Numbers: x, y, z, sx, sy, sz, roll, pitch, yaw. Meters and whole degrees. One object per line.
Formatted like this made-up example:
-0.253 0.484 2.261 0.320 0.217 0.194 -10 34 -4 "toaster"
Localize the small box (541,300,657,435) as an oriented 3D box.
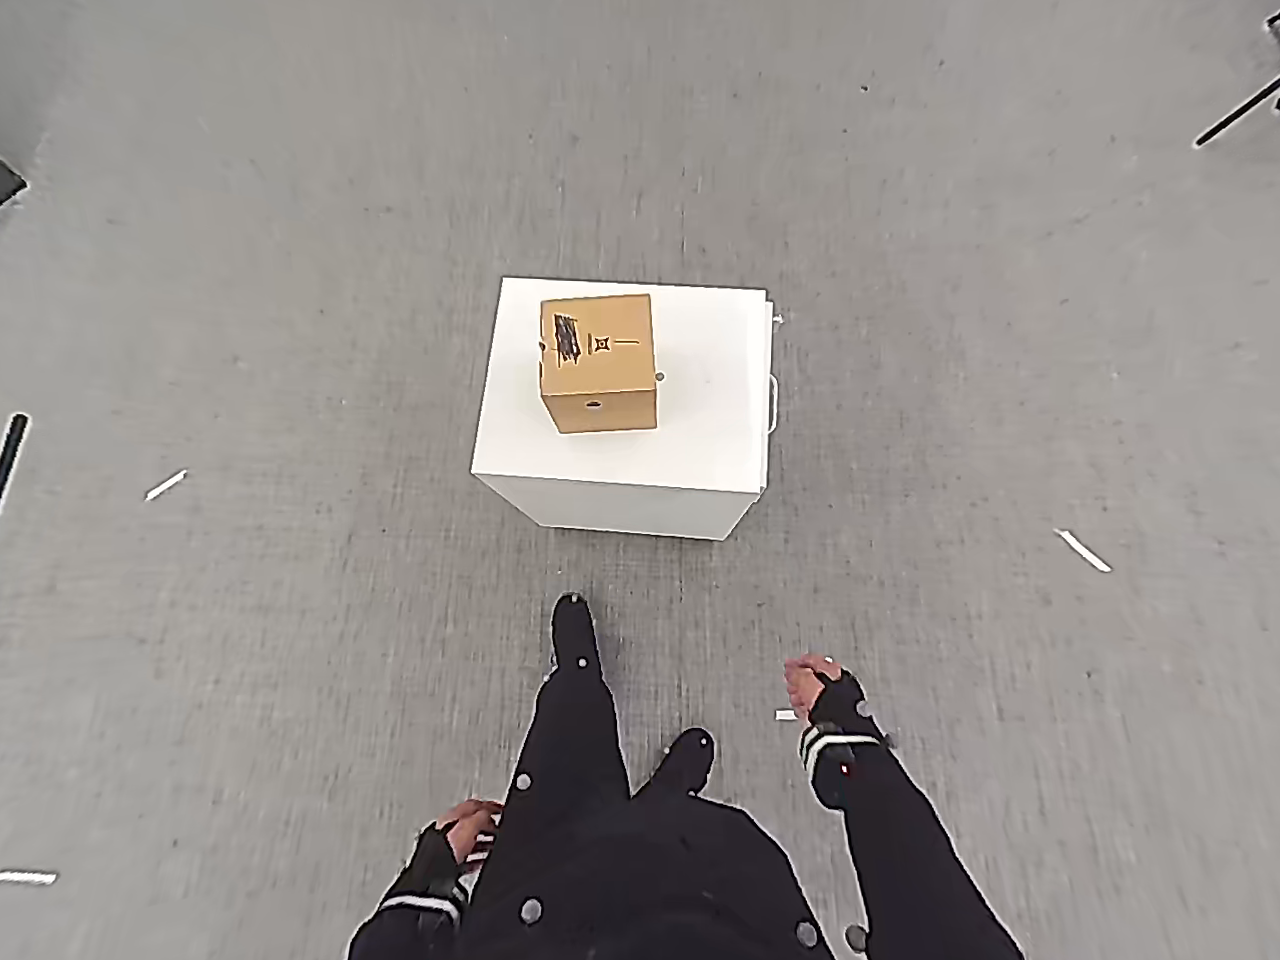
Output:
-0.062 -0.180 0.908 0.179 0.176 0.168 -3 75 1 "small box"
